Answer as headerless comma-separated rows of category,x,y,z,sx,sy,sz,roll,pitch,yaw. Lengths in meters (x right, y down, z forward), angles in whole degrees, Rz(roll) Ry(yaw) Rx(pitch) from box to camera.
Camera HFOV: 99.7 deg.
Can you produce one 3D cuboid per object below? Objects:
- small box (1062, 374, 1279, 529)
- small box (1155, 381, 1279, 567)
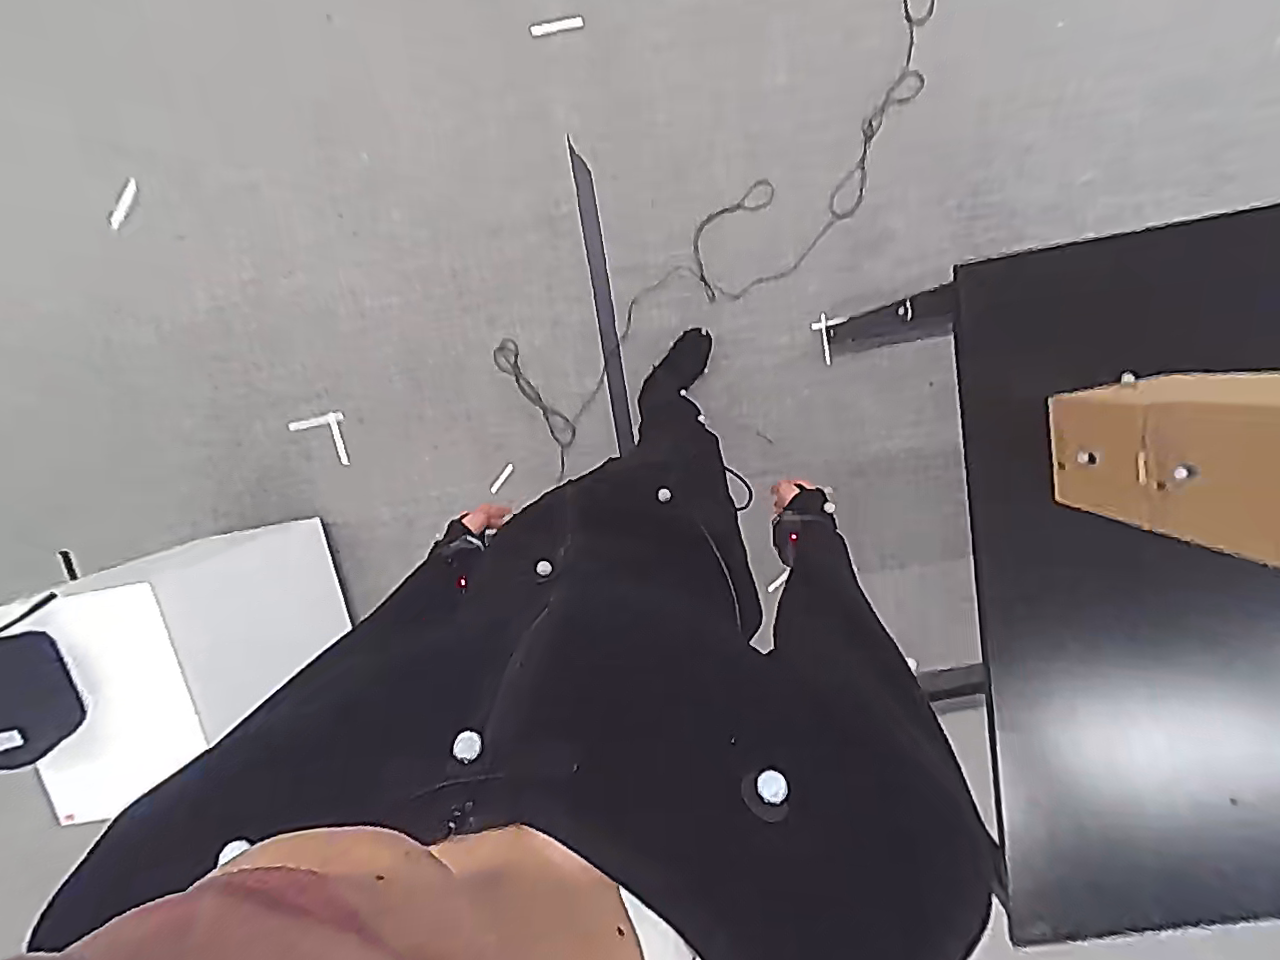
small box,0.717,-0.044,0.737,0.179,0.176,0.168,-11,99,5
small box,0.711,-0.016,0.574,0.179,0.176,0.168,-11,99,5
